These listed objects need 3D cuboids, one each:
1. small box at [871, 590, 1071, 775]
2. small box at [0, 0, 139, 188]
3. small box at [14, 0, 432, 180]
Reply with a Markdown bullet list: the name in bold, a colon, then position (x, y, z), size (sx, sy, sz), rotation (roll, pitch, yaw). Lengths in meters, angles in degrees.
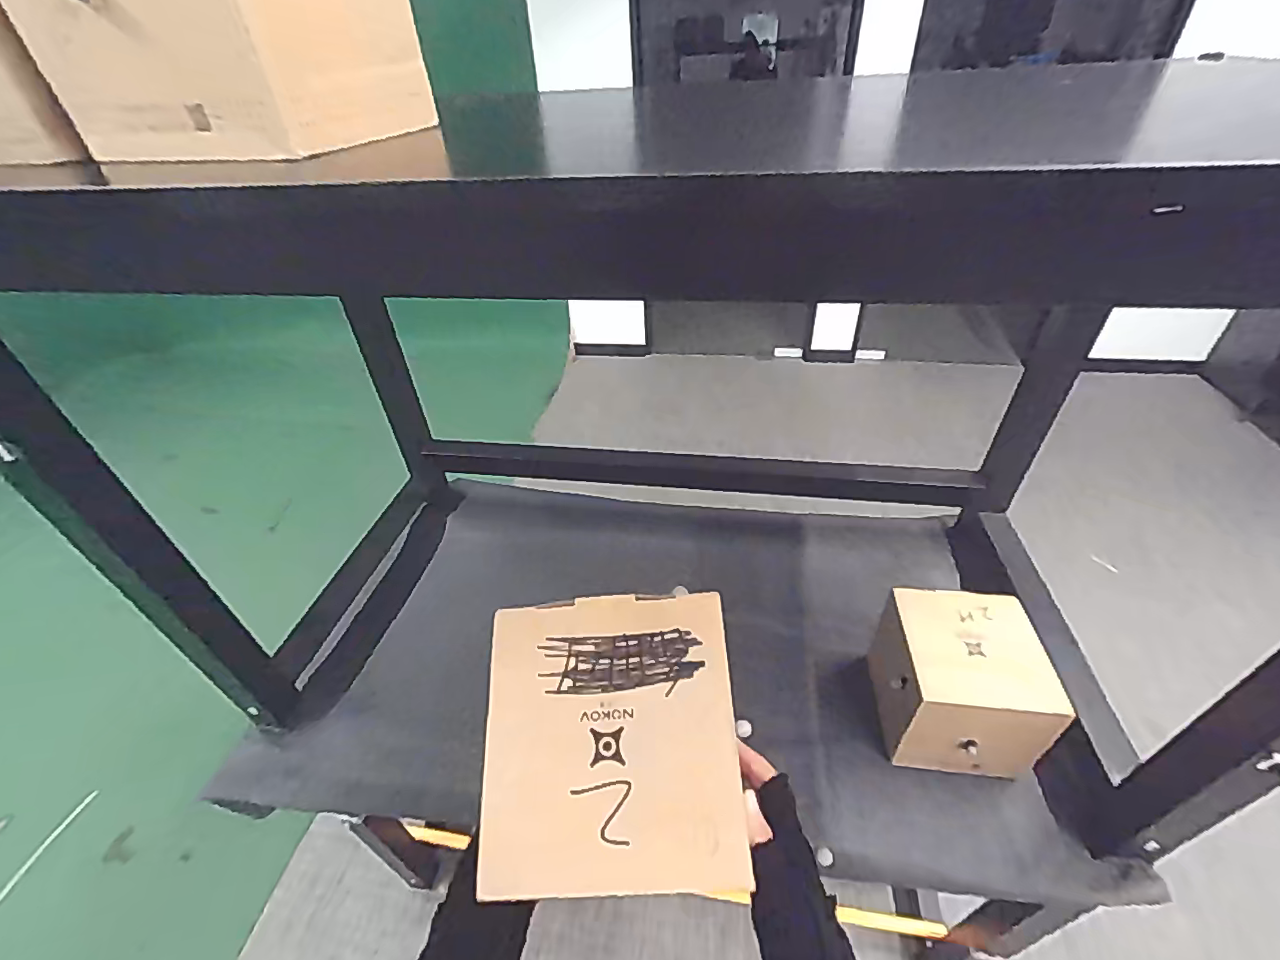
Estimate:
- **small box**: position (0.431, 0.276, 0.741), size (0.168, 0.176, 0.179), rotation (3, 38, 8)
- **small box**: position (-0.459, -0.328, 0.398), size (0.168, 0.176, 0.179), rotation (3, 40, 8)
- **small box**: position (-0.271, -0.312, 0.369), size (0.168, 0.176, 0.179), rotation (6, 39, 12)
